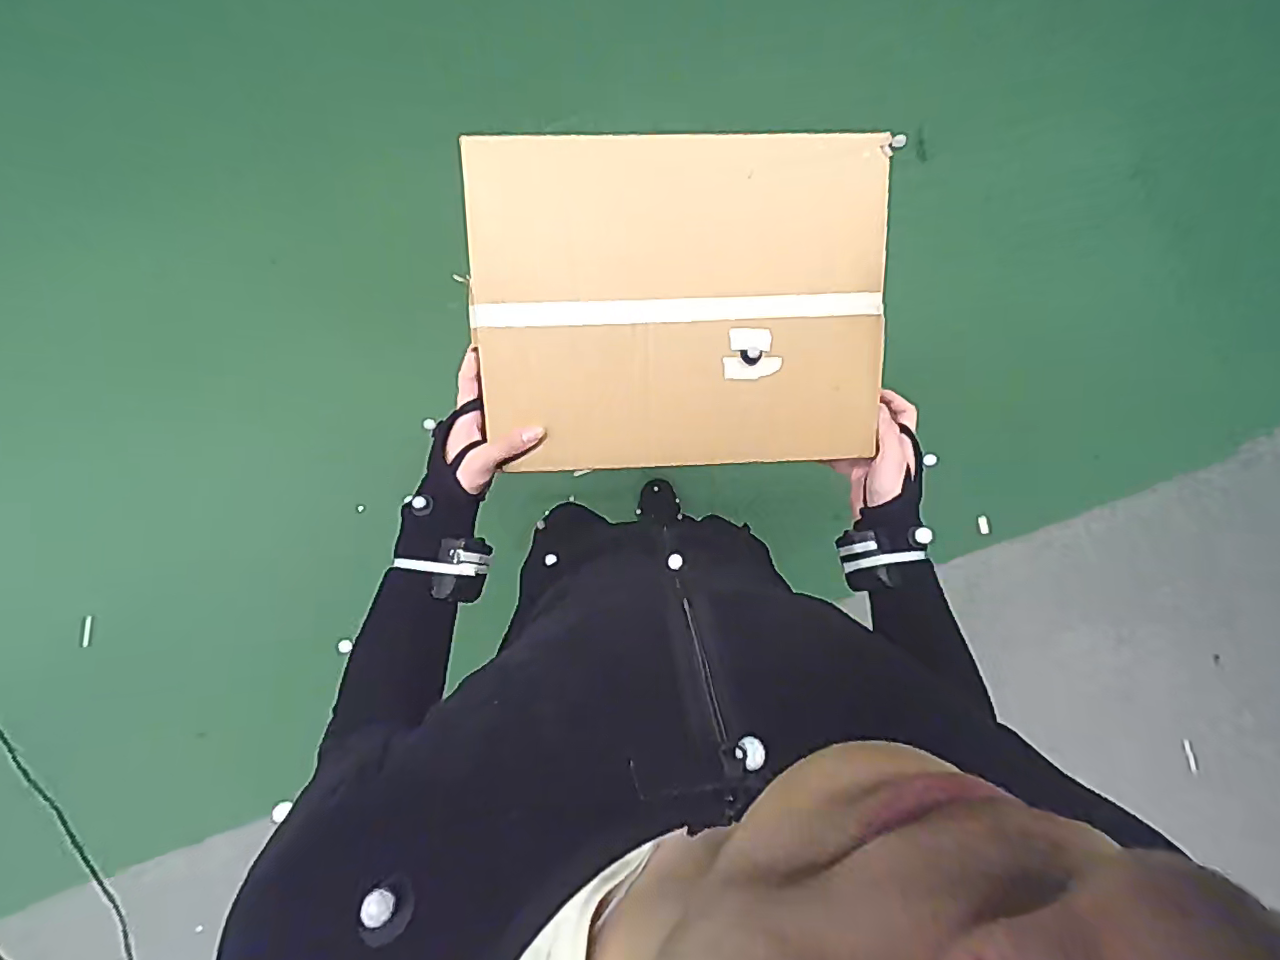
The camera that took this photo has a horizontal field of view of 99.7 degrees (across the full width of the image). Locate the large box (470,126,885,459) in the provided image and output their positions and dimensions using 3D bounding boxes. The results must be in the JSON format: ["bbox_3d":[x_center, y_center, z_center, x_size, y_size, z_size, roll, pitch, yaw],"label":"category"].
[{"bbox_3d":[0.033,-0.209,0.683,0.408,0.320,0.320,-2,102,-4],"label":"large box"}]
